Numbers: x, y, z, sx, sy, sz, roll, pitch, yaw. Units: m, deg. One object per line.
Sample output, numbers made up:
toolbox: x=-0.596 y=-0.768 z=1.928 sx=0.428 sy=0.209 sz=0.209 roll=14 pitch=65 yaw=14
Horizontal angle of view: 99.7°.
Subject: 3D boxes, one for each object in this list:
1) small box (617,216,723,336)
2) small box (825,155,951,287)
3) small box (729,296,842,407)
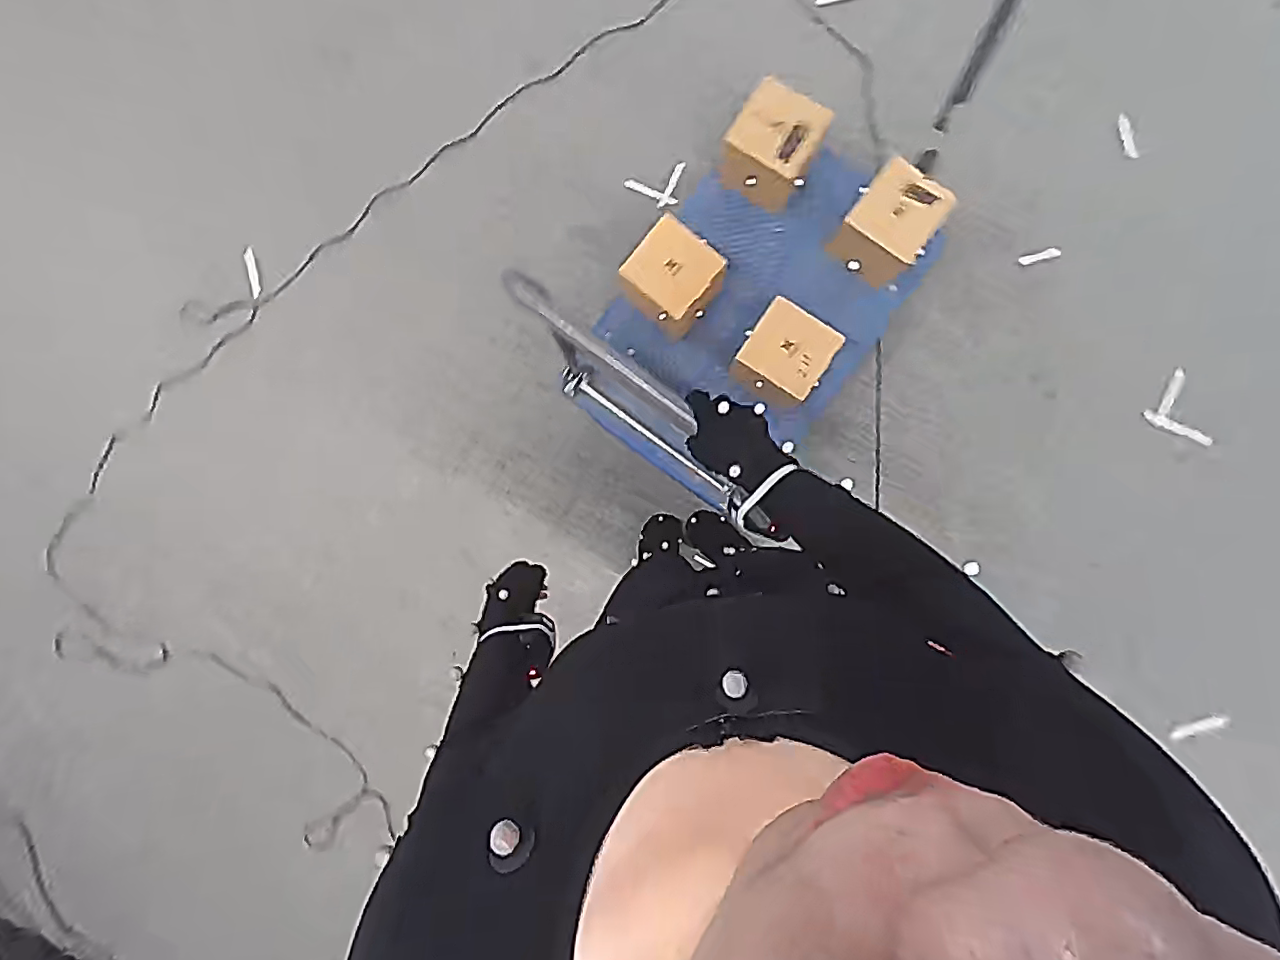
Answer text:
small box: x=0.067 y=-0.462 z=1.256 sx=0.179 sy=0.176 sz=0.168 roll=39 pitch=91 yaw=2
small box: x=0.549 y=-0.576 z=1.228 sx=0.168 sy=0.176 sz=0.179 roll=37 pitch=93 yaw=3
small box: x=0.321 y=-0.282 z=1.239 sx=0.179 sy=0.176 sz=0.168 roll=34 pitch=92 yaw=3
